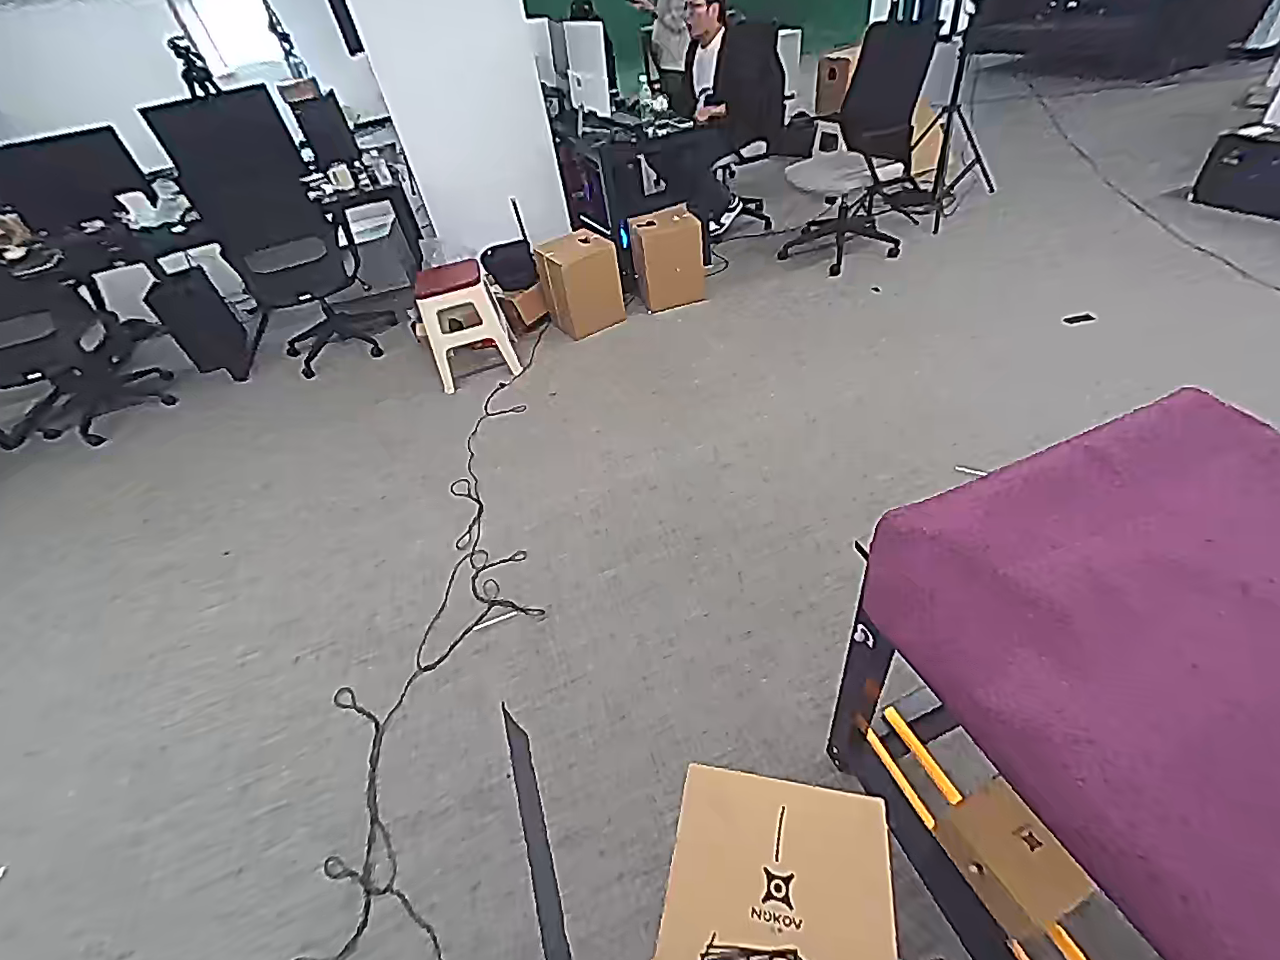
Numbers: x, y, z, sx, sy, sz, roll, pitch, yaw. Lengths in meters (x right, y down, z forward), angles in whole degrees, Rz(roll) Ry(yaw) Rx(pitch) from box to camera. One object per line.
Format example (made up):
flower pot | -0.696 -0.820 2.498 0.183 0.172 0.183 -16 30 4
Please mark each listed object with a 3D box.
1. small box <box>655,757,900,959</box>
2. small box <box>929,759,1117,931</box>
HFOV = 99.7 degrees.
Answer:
small box | 0.115 0.369 0.450 0.168 0.176 0.179 3 40 16
small box | 0.626 0.618 0.910 0.168 0.176 0.179 -25 44 -12
